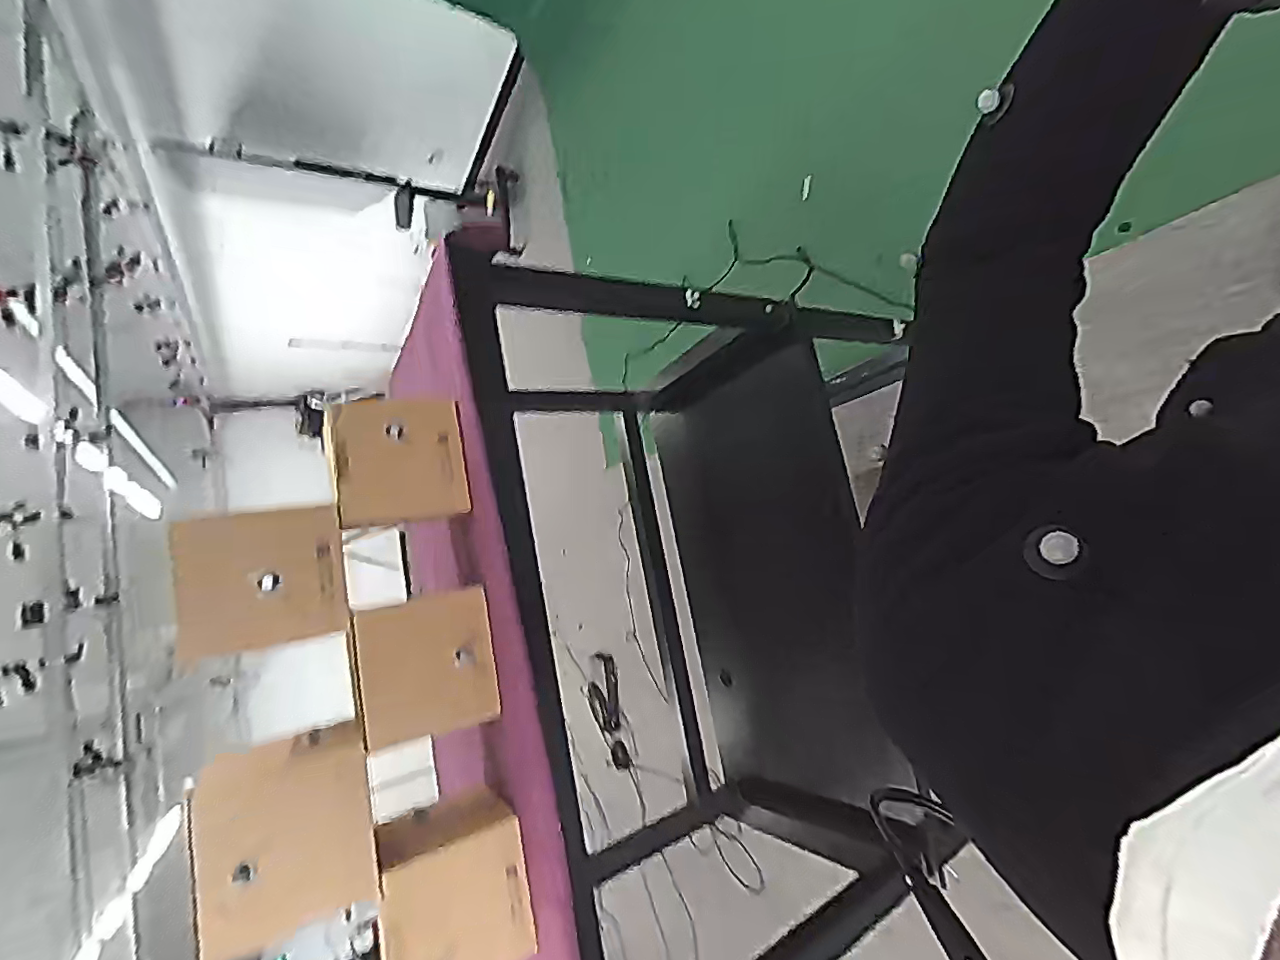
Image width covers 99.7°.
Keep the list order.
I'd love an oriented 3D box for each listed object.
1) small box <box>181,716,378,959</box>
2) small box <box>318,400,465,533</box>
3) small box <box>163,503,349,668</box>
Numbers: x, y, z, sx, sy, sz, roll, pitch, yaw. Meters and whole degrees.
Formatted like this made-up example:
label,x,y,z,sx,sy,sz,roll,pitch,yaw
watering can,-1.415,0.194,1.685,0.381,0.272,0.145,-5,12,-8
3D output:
label,x,y,z,sx,sy,sz,roll,pitch,yaw
small box,-0.419,0.409,0.648,0.168,0.176,0.179,-20,77,57
small box,-0.364,-0.018,0.797,0.179,0.176,0.168,-16,82,58
small box,-0.478,0.126,0.693,0.179,0.176,0.168,-17,81,57
